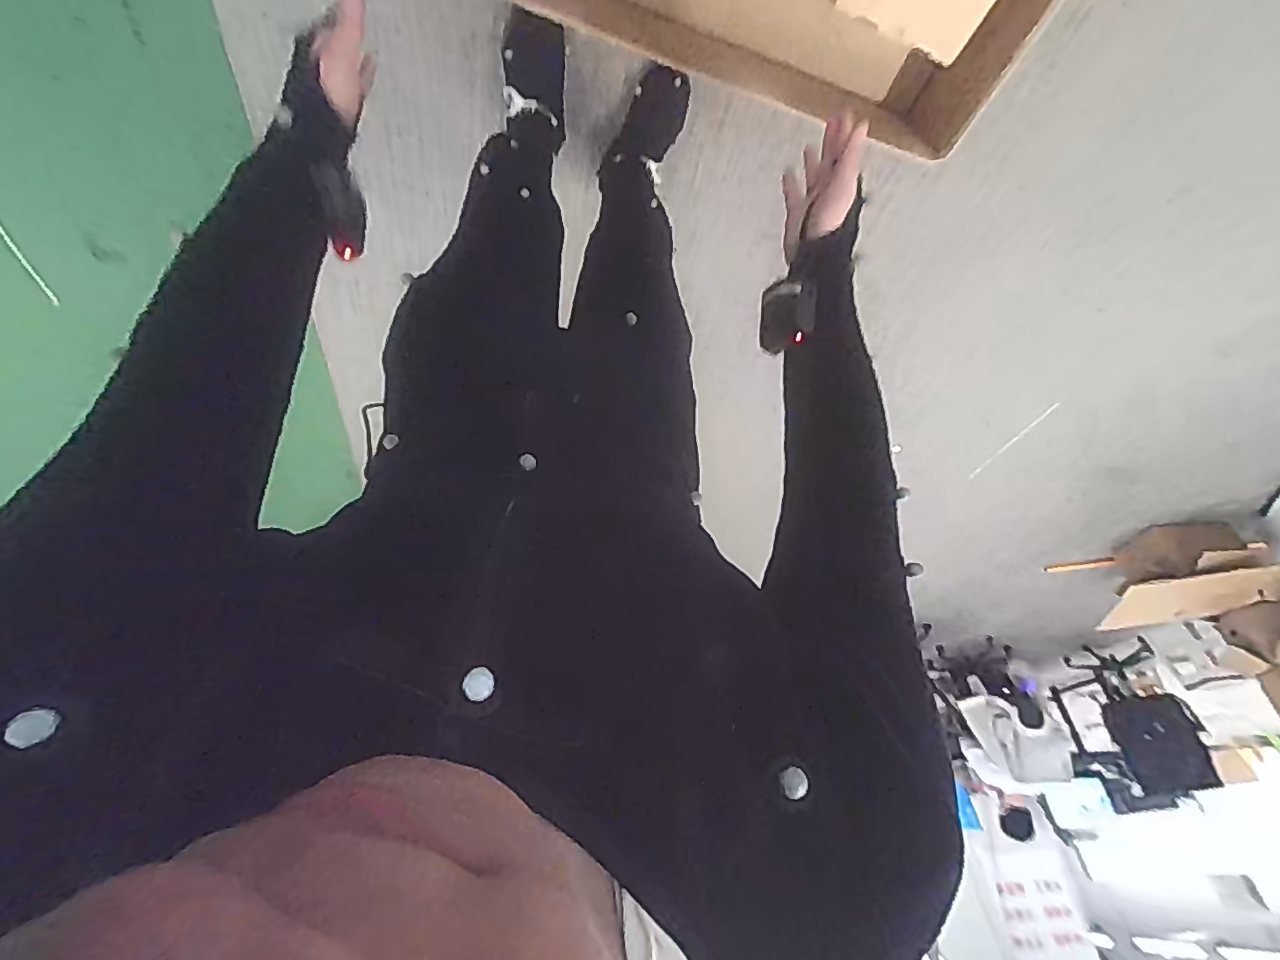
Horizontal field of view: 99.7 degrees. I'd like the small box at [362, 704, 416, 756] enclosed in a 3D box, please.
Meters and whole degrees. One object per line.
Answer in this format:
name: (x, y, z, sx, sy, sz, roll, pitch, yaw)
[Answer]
small box: (-1.034, 1.040, 2.241, 0.168, 0.176, 0.179, 6, 144, -14)
